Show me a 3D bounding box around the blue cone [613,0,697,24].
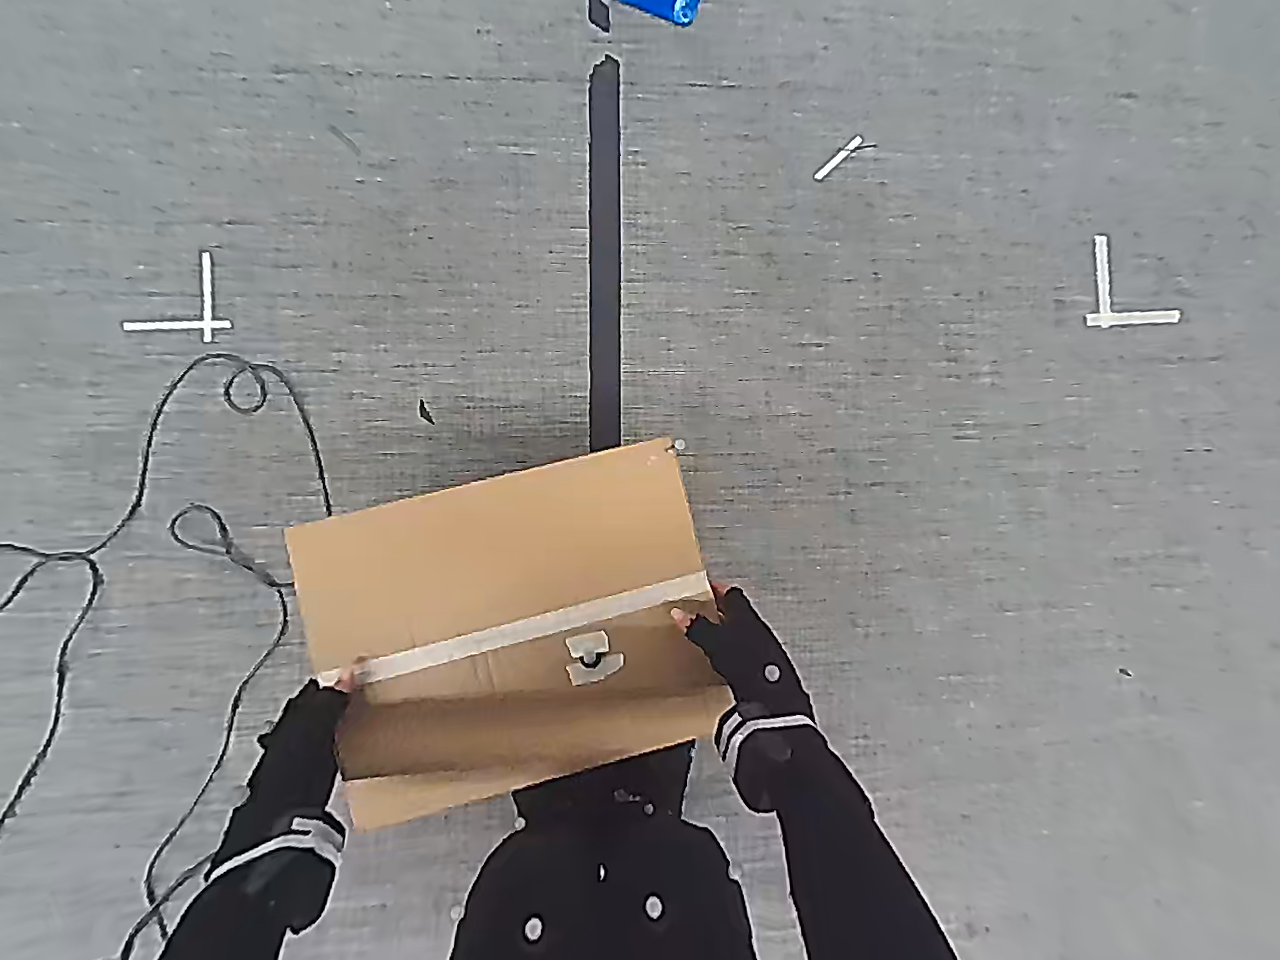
[{"bbox_3d":[0.032,-0.862,0.727,0.193,0.380,0.192,20,88,-4],"label":"blue cone"}]

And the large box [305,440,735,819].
[{"bbox_3d":[-0.134,0.162,0.718,0.408,0.320,0.320,-14,88,-4],"label":"large box"}]
